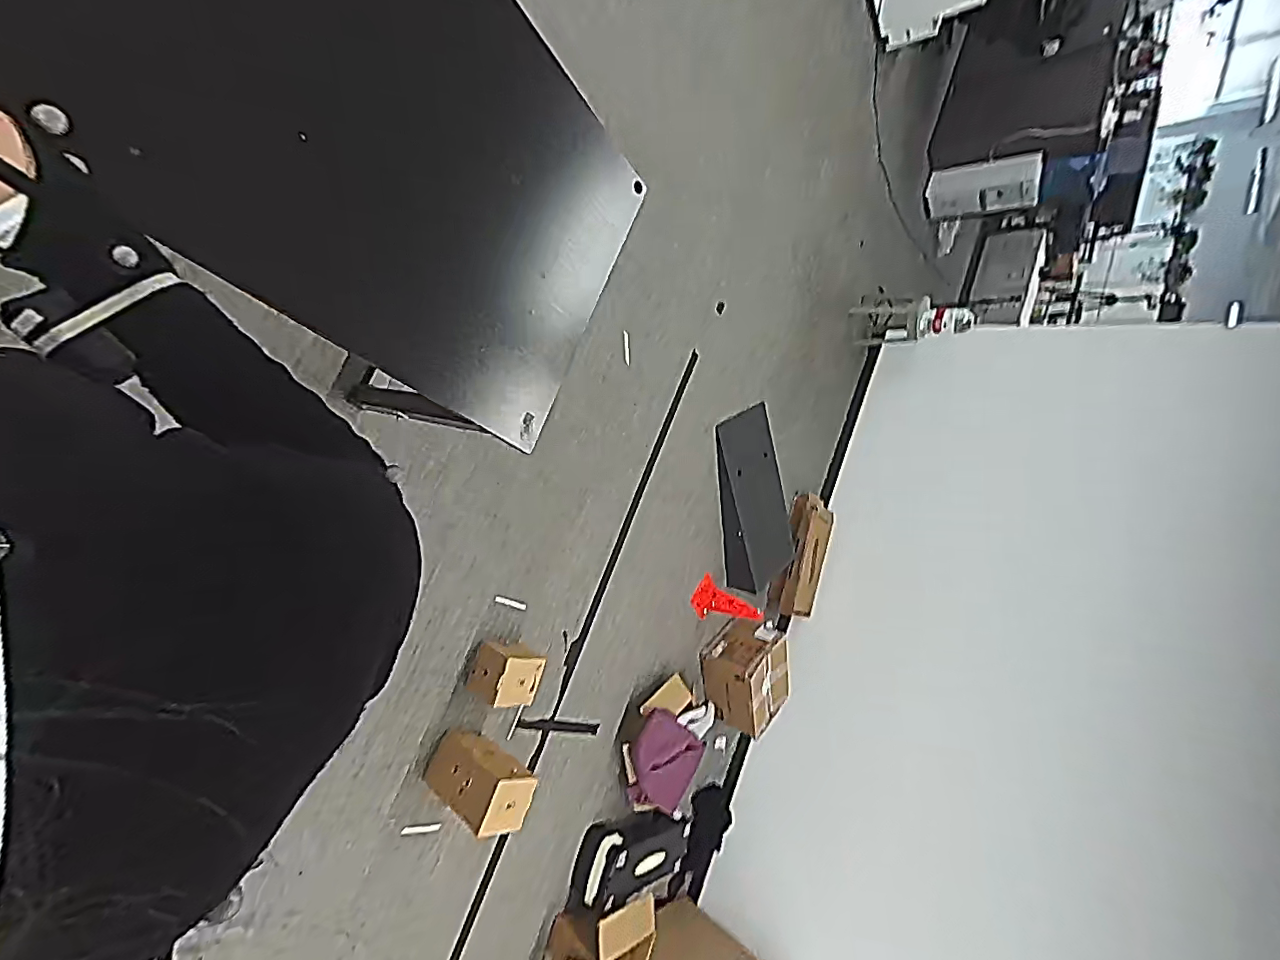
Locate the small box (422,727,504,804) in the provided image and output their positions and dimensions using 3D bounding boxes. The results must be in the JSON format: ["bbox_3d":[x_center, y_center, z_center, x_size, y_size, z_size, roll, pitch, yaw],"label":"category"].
[{"bbox_3d":[-0.602,0.963,1.830,0.168,0.176,0.179,39,72,-47],"label":"small box"}]

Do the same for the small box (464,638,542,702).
[{"bbox_3d":[-0.482,0.660,1.887,0.179,0.176,0.168,25,80,-49],"label":"small box"}]

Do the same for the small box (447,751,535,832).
[{"bbox_3d":[-0.477,0.986,1.729,0.179,0.176,0.168,32,74,-48],"label":"small box"}]
